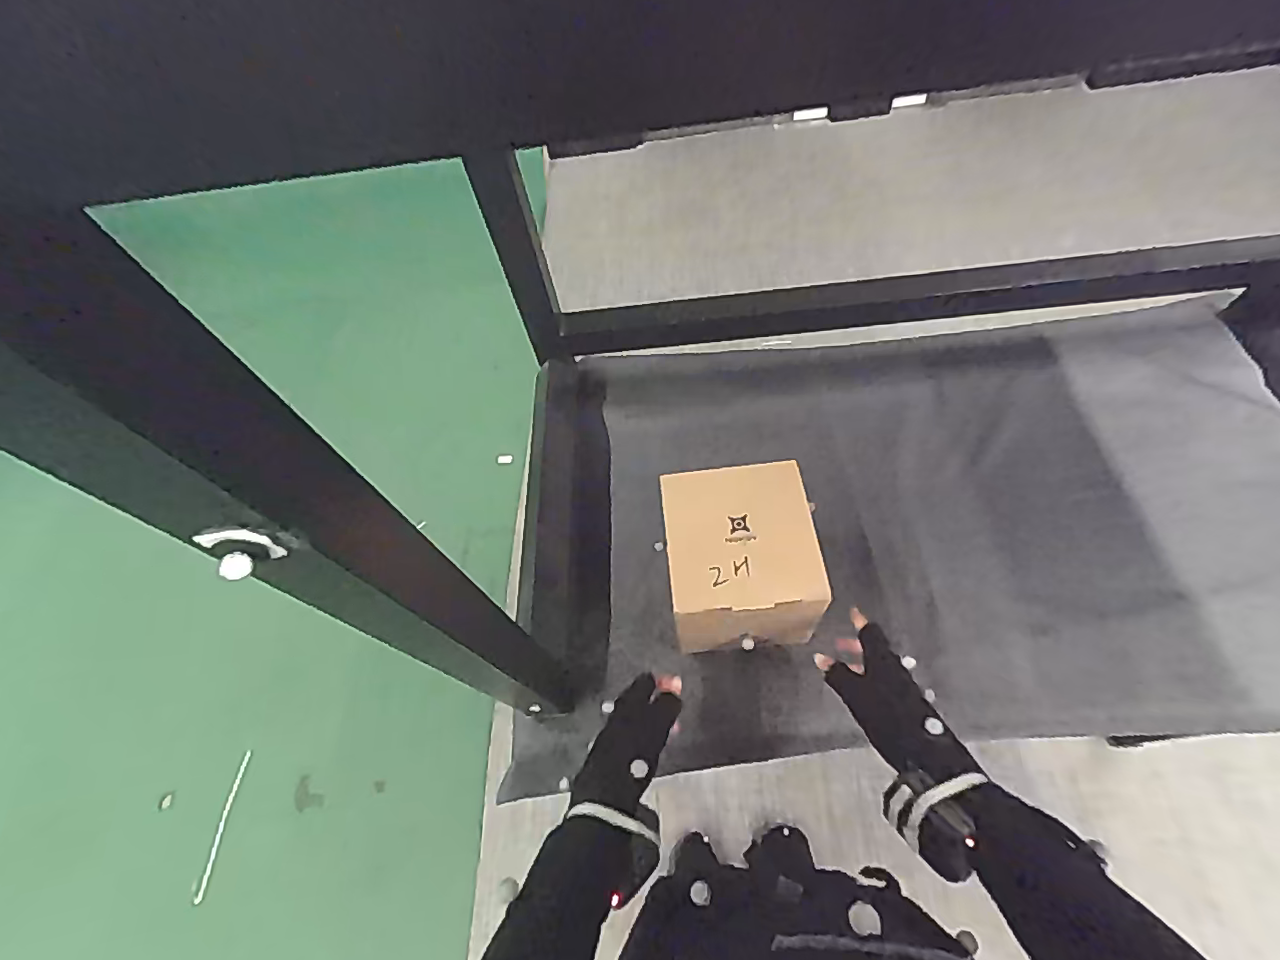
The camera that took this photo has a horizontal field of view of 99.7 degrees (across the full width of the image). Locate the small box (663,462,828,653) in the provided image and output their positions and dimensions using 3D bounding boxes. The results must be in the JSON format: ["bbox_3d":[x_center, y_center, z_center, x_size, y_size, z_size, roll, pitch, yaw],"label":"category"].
[{"bbox_3d":[0.119,0.101,0.676,0.168,0.176,0.179,-6,57,4],"label":"small box"}]
